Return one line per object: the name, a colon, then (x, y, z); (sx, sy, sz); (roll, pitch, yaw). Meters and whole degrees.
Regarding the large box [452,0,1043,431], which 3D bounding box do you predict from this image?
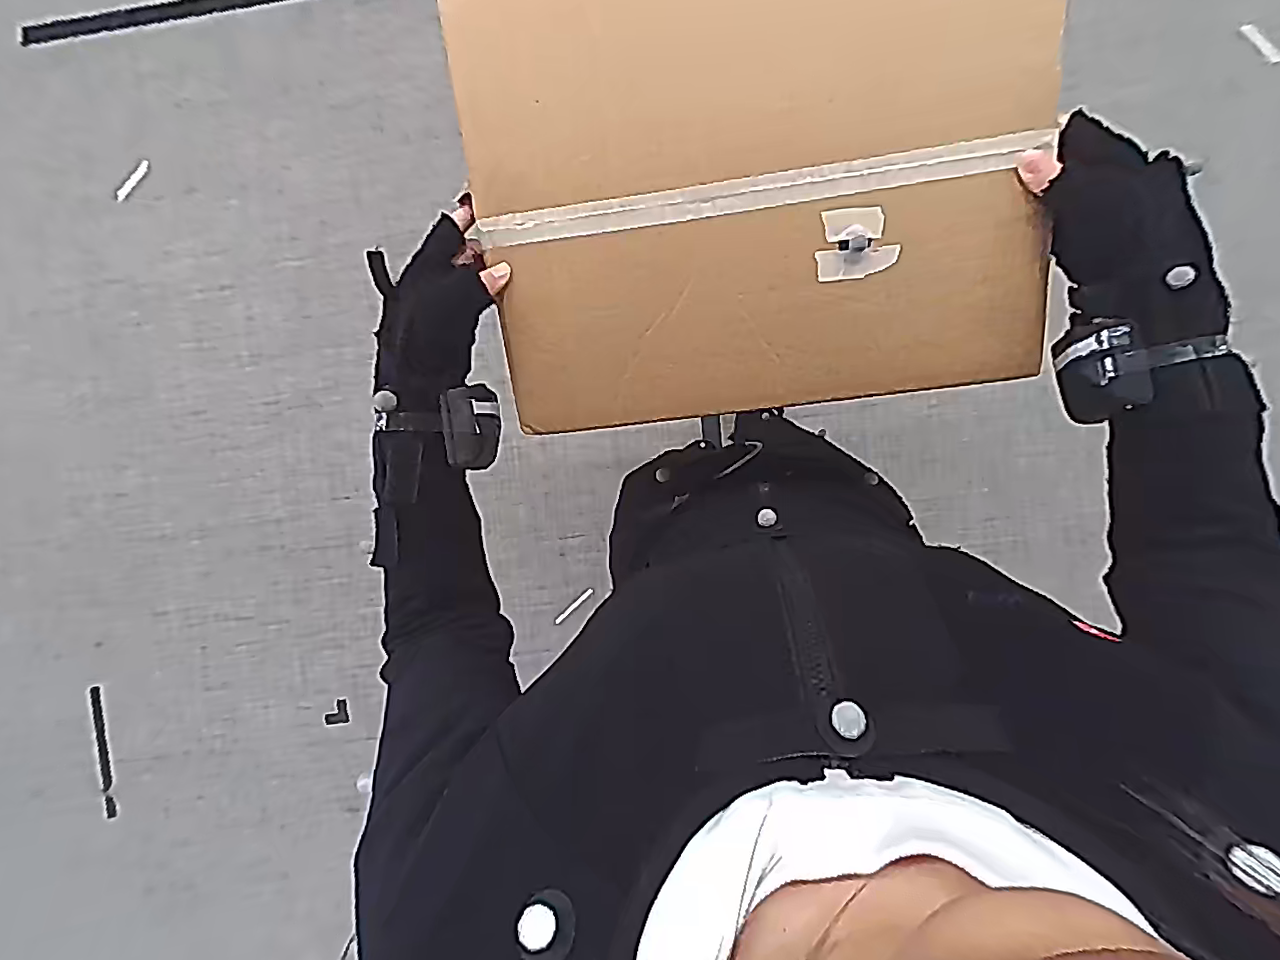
large box: (0.089, -0.253, 0.543); (0.408, 0.320, 0.320); (-7, 107, 4)
